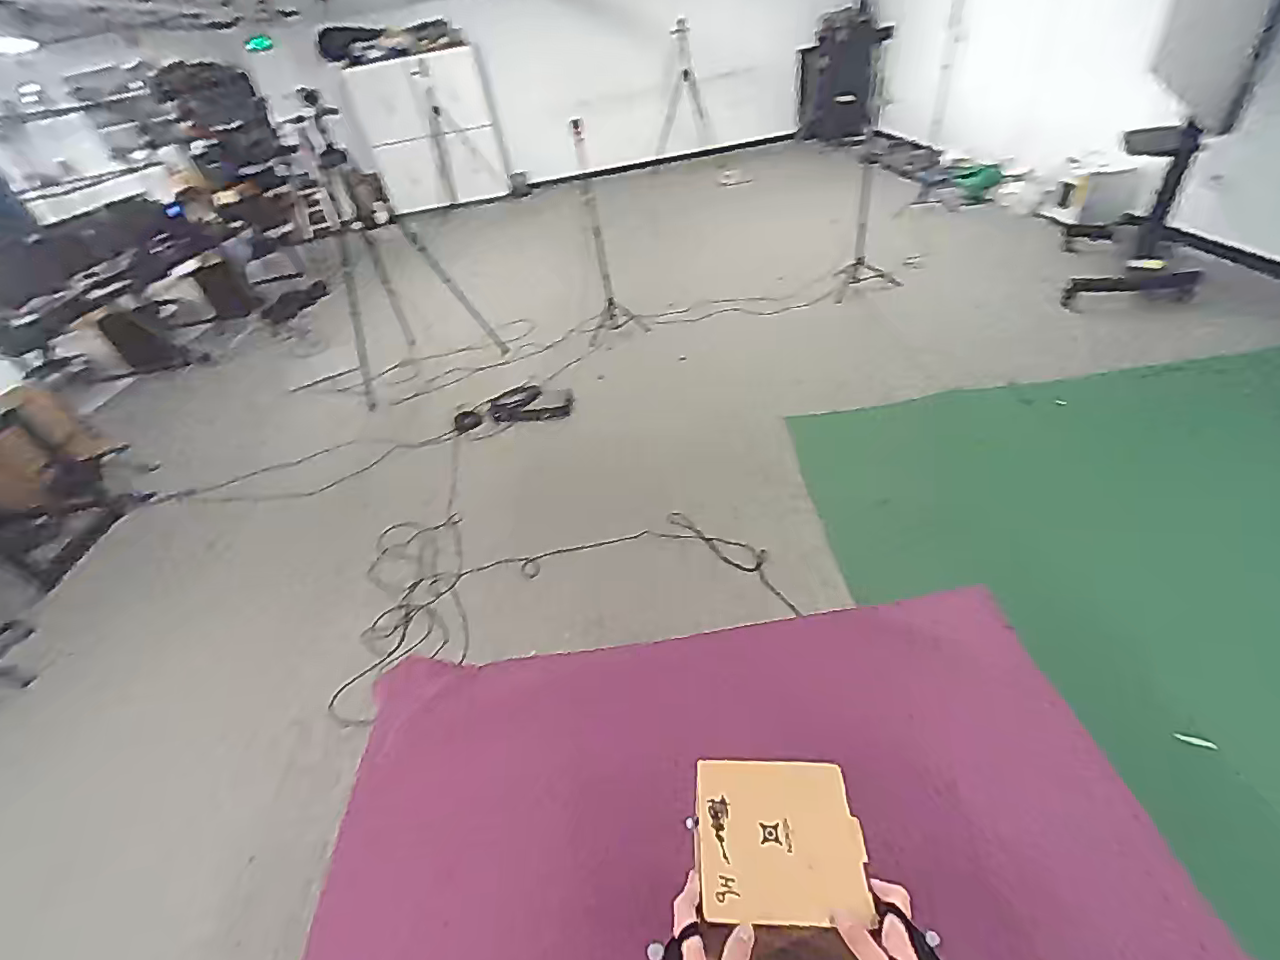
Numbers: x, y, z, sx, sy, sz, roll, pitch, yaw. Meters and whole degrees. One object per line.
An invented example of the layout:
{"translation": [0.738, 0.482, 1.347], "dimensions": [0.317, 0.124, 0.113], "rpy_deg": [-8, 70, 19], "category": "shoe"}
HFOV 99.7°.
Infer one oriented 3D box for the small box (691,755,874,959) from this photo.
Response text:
{"translation": [0.152, 0.456, 0.647], "dimensions": [0.179, 0.176, 0.168], "rpy_deg": [0, 34, 4], "category": "small box"}
